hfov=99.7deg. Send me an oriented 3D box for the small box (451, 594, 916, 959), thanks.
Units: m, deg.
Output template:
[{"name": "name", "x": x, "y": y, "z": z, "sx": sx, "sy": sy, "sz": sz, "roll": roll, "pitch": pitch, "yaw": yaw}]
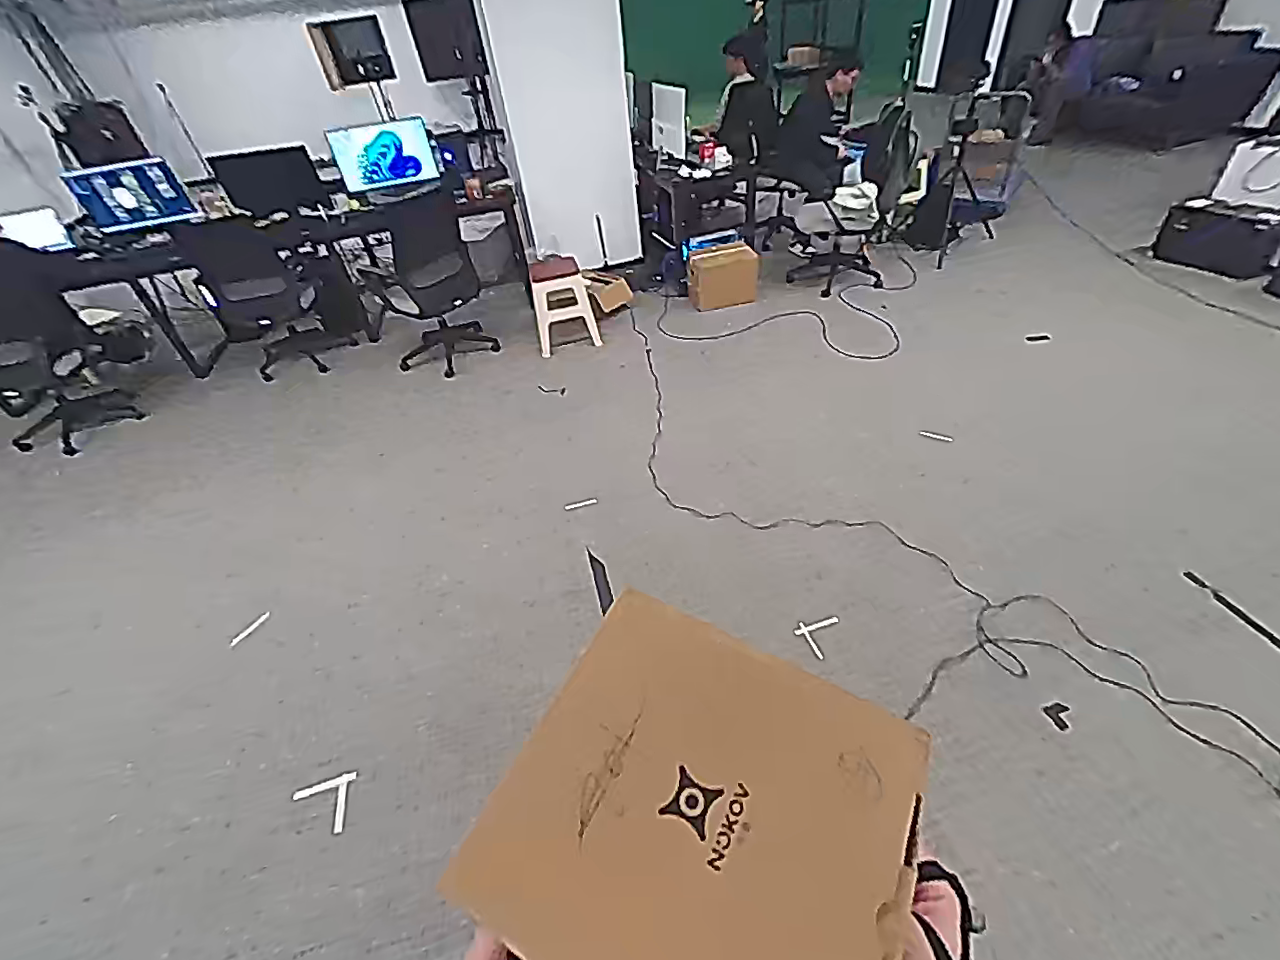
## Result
[{"name": "small box", "x": 0.030, "y": 0.204, "z": 0.320, "sx": 0.179, "sy": 0.176, "sz": 0.168, "roll": 21, "pitch": 53, "yaw": 20}]
